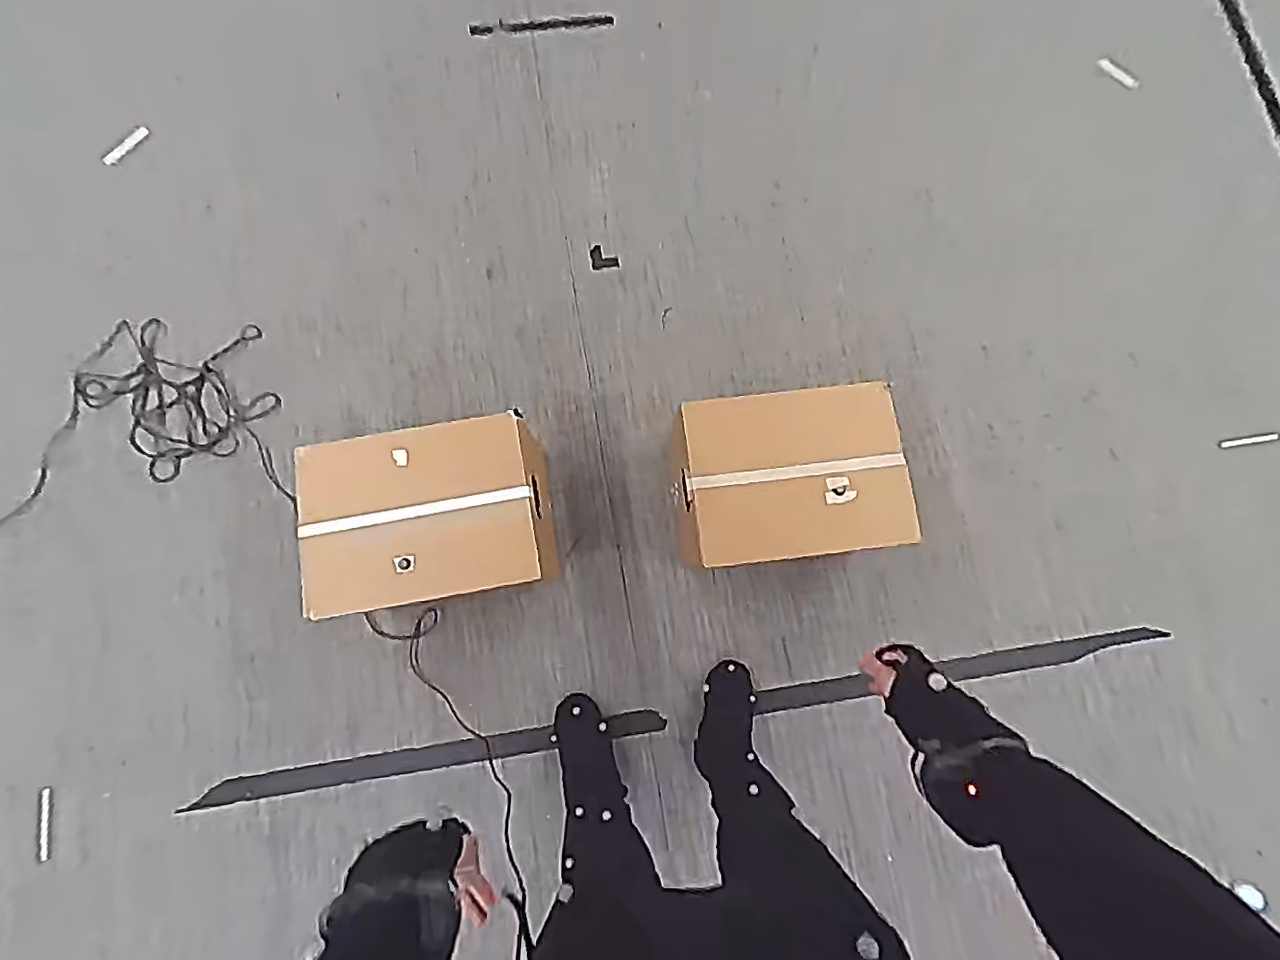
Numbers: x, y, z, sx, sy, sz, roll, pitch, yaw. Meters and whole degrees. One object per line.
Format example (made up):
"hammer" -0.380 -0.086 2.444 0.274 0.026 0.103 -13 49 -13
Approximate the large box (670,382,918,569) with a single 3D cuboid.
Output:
"large box" 0.292 0.008 1.154 0.408 0.320 0.320 -6 80 -3
